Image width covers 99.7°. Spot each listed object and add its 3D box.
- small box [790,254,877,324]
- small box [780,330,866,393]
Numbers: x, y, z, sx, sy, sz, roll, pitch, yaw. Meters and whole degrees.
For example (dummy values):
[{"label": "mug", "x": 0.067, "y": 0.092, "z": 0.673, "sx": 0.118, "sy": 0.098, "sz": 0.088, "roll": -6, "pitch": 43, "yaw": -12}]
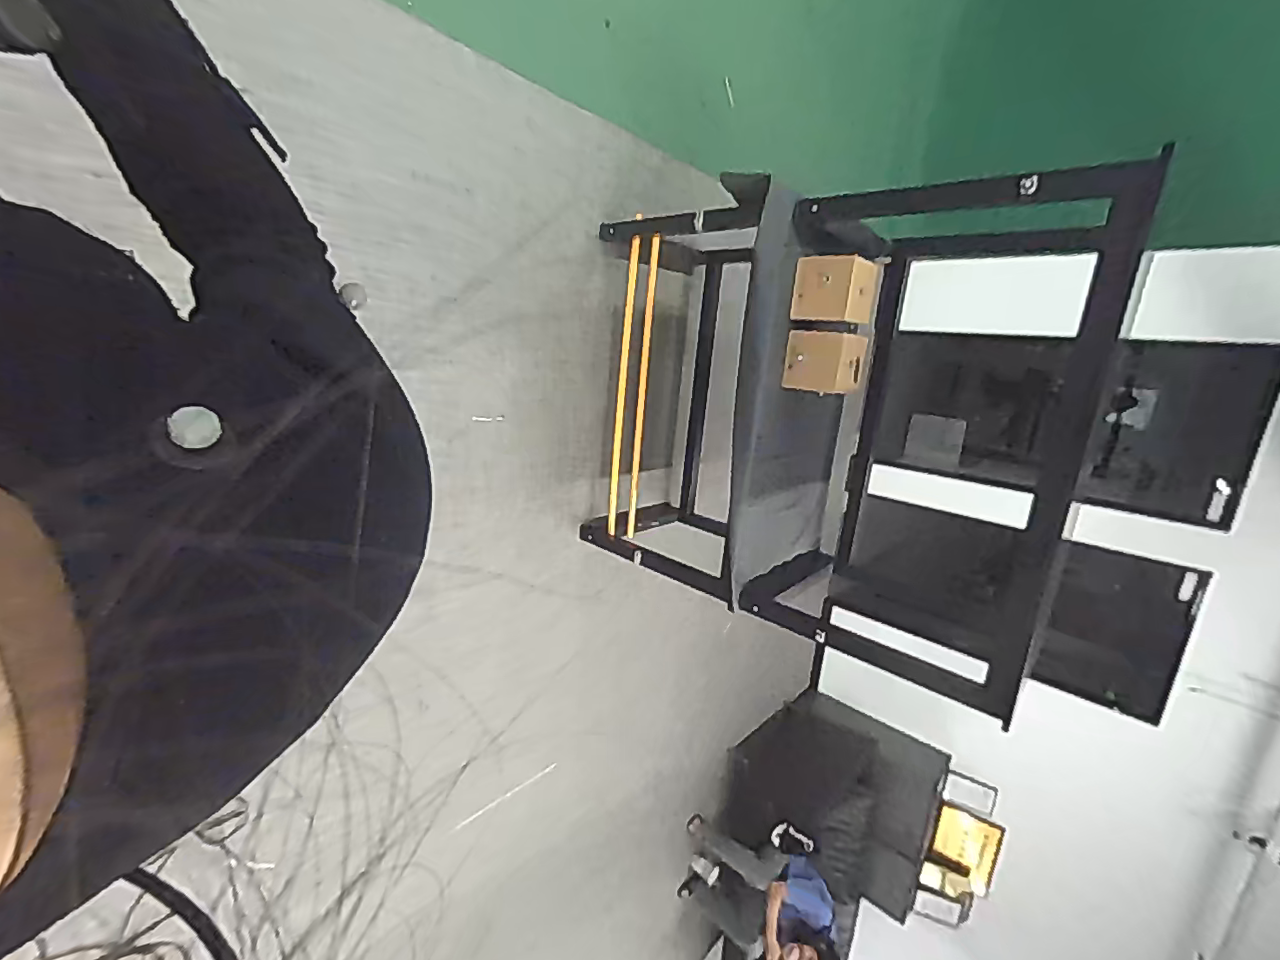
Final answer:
[{"label": "small box", "x": 0.545, "y": -0.538, "z": 1.534, "sx": 0.179, "sy": 0.176, "sz": 0.168, "roll": -12, "pitch": 113, "yaw": -48}, {"label": "small box", "x": 0.536, "y": -0.350, "z": 1.591, "sx": 0.179, "sy": 0.176, "sz": 0.168, "roll": -10, "pitch": 110, "yaw": -47}]
